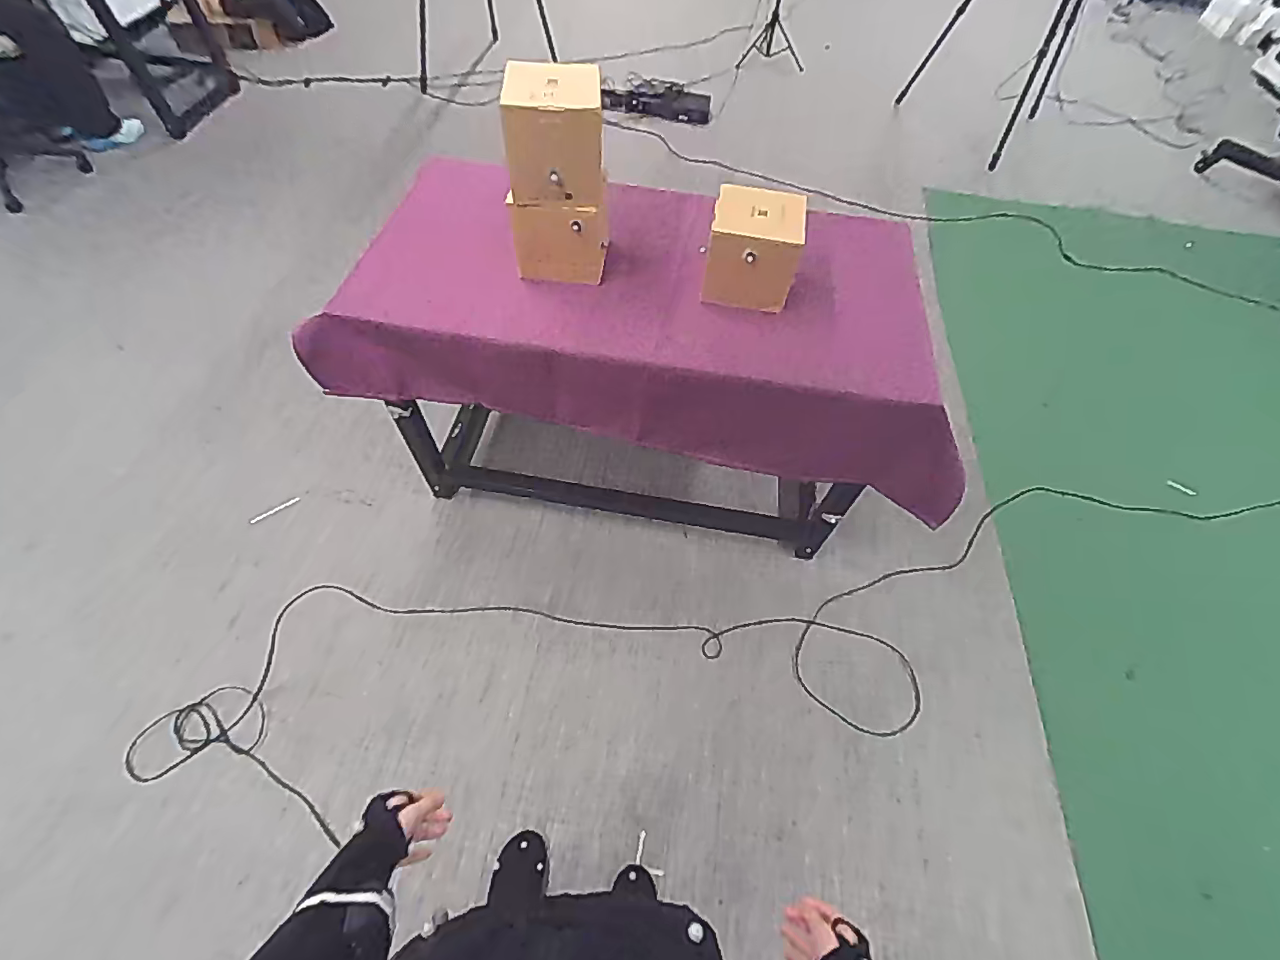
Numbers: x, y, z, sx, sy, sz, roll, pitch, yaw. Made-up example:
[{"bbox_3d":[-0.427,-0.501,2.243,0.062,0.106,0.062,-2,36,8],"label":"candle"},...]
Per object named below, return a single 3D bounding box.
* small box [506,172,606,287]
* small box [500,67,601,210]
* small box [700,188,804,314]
[{"bbox_3d":[-0.166,-0.527,1.131,0.179,0.176,0.168,6,56,-1],"label":"small box"},{"bbox_3d":[-0.157,-0.627,0.999,0.168,0.176,0.179,-1,57,-4],"label":"small box"},{"bbox_3d":[0.225,-0.465,1.111,0.179,0.176,0.168,11,57,3],"label":"small box"}]
